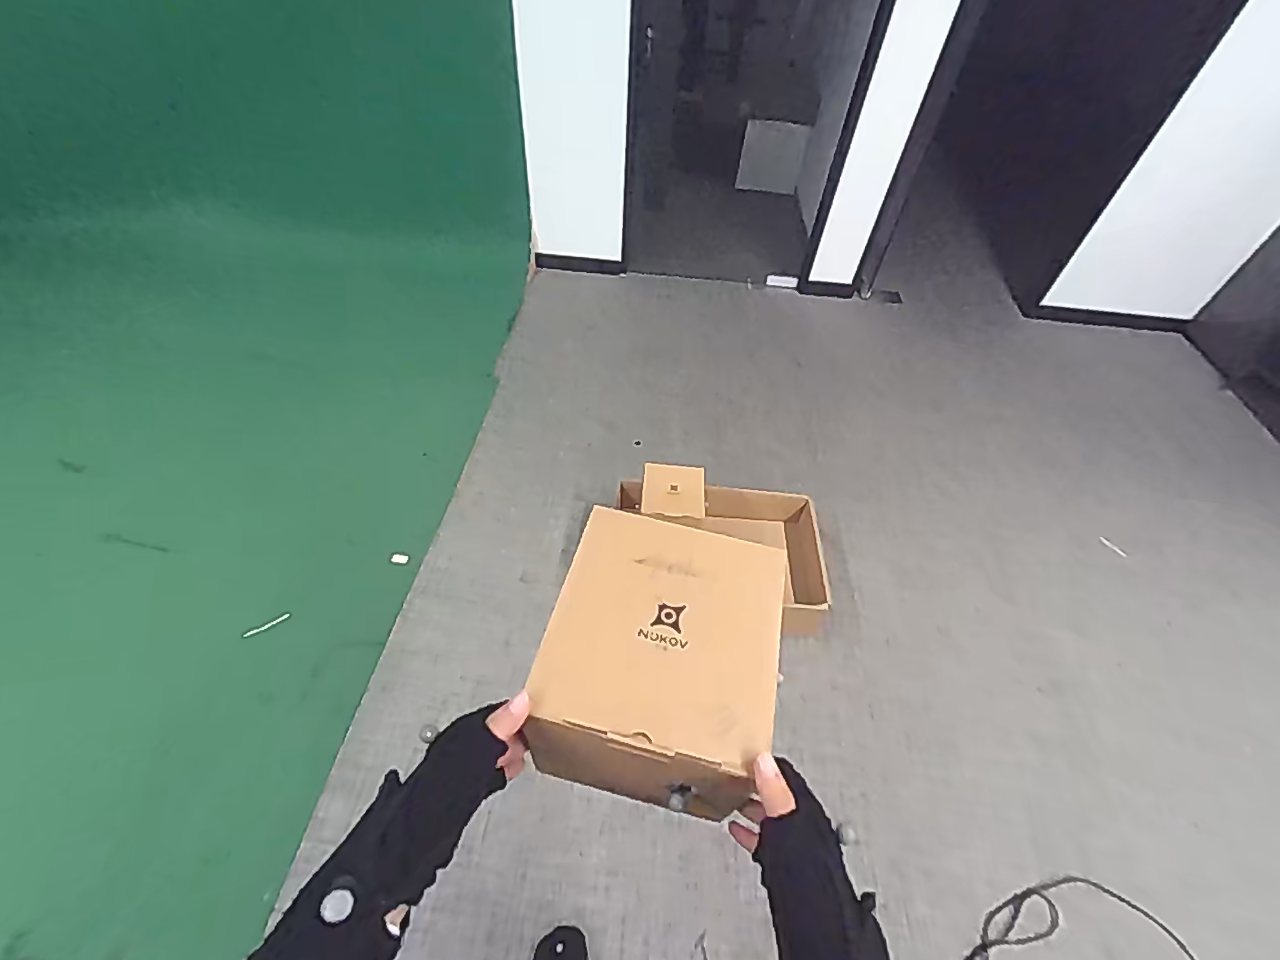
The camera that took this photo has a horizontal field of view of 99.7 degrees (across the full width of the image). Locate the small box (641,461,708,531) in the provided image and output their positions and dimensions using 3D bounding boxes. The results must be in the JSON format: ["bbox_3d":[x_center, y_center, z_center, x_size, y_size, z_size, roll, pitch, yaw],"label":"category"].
[{"bbox_3d":[0.090,0.075,1.480,0.168,0.176,0.179,6,49,-1],"label":"small box"}]

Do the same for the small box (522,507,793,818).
[{"bbox_3d":[0.018,0.155,0.451,0.168,0.176,0.179,14,50,6],"label":"small box"}]
